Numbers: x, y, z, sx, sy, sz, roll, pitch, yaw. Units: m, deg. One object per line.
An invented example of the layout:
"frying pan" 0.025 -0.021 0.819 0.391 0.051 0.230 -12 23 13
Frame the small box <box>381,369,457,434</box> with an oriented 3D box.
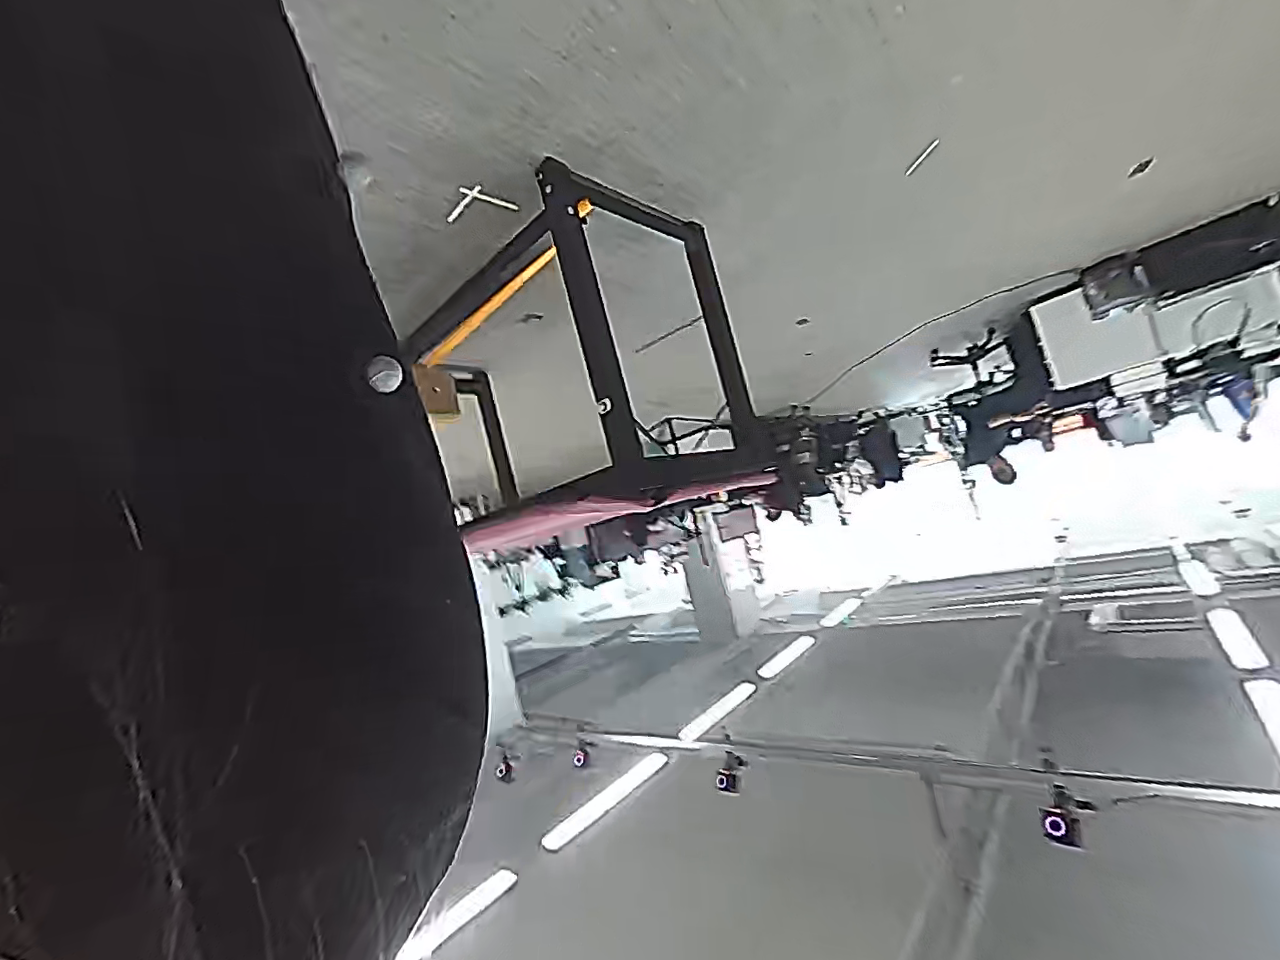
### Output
"small box" -0.751 -0.265 1.822 0.179 0.176 0.168 -21 172 40
